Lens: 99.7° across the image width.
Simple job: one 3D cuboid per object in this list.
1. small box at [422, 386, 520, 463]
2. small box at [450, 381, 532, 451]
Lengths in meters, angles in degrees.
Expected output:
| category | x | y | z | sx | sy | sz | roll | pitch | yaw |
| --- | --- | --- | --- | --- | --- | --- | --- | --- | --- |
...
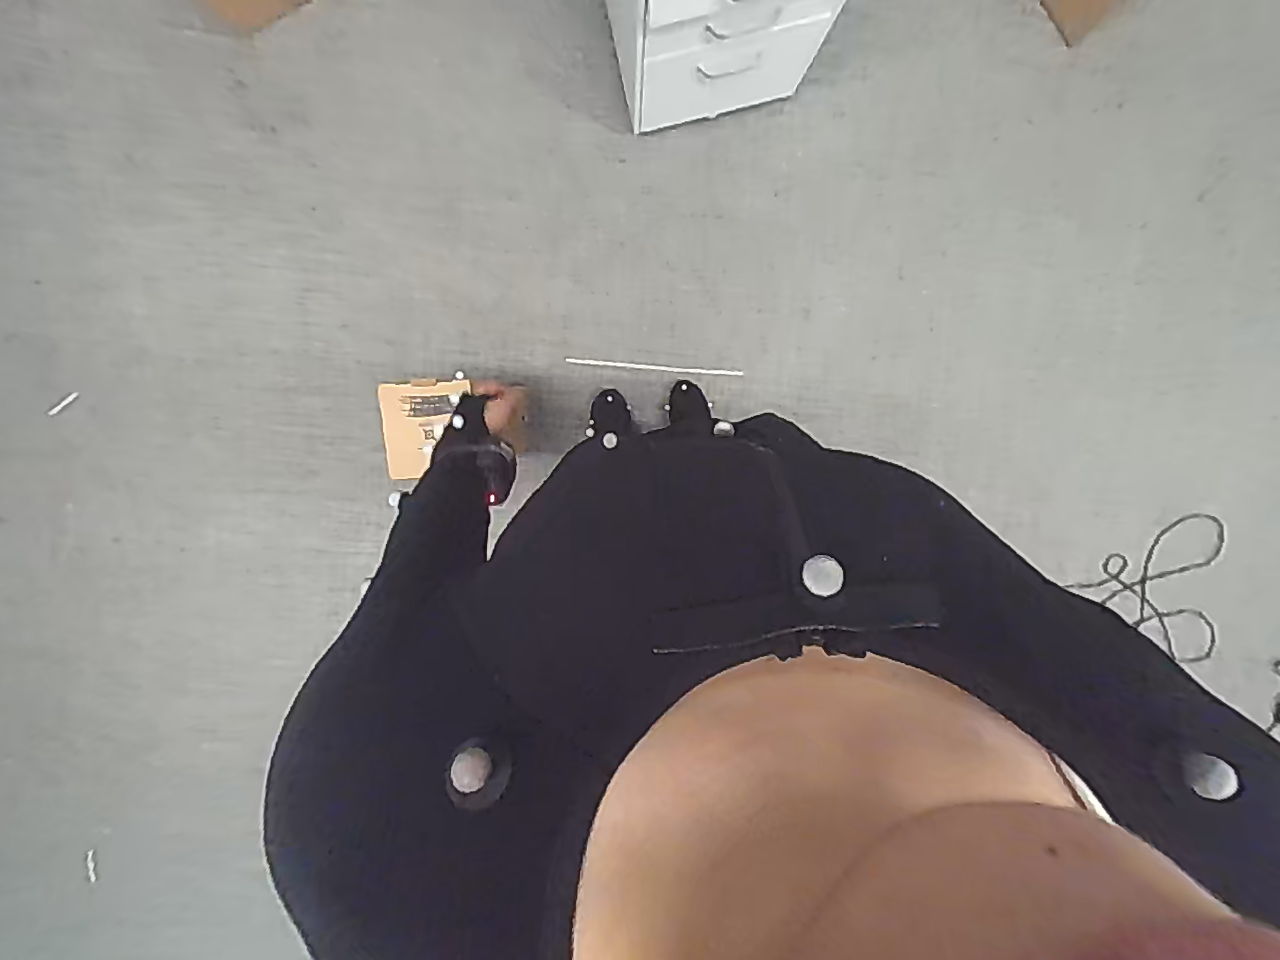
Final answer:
| category | x | y | z | sx | sy | sz | roll | pitch | yaw |
| --- | --- | --- | --- | --- | --- | --- | --- | --- | --- |
| small box | -0.375 | -0.131 | 1.233 | 0.179 | 0.176 | 0.168 | 0 | 98 | 1 |
| small box | -0.377 | -0.168 | 1.392 | 0.179 | 0.176 | 0.168 | 2 | 99 | -1 |
